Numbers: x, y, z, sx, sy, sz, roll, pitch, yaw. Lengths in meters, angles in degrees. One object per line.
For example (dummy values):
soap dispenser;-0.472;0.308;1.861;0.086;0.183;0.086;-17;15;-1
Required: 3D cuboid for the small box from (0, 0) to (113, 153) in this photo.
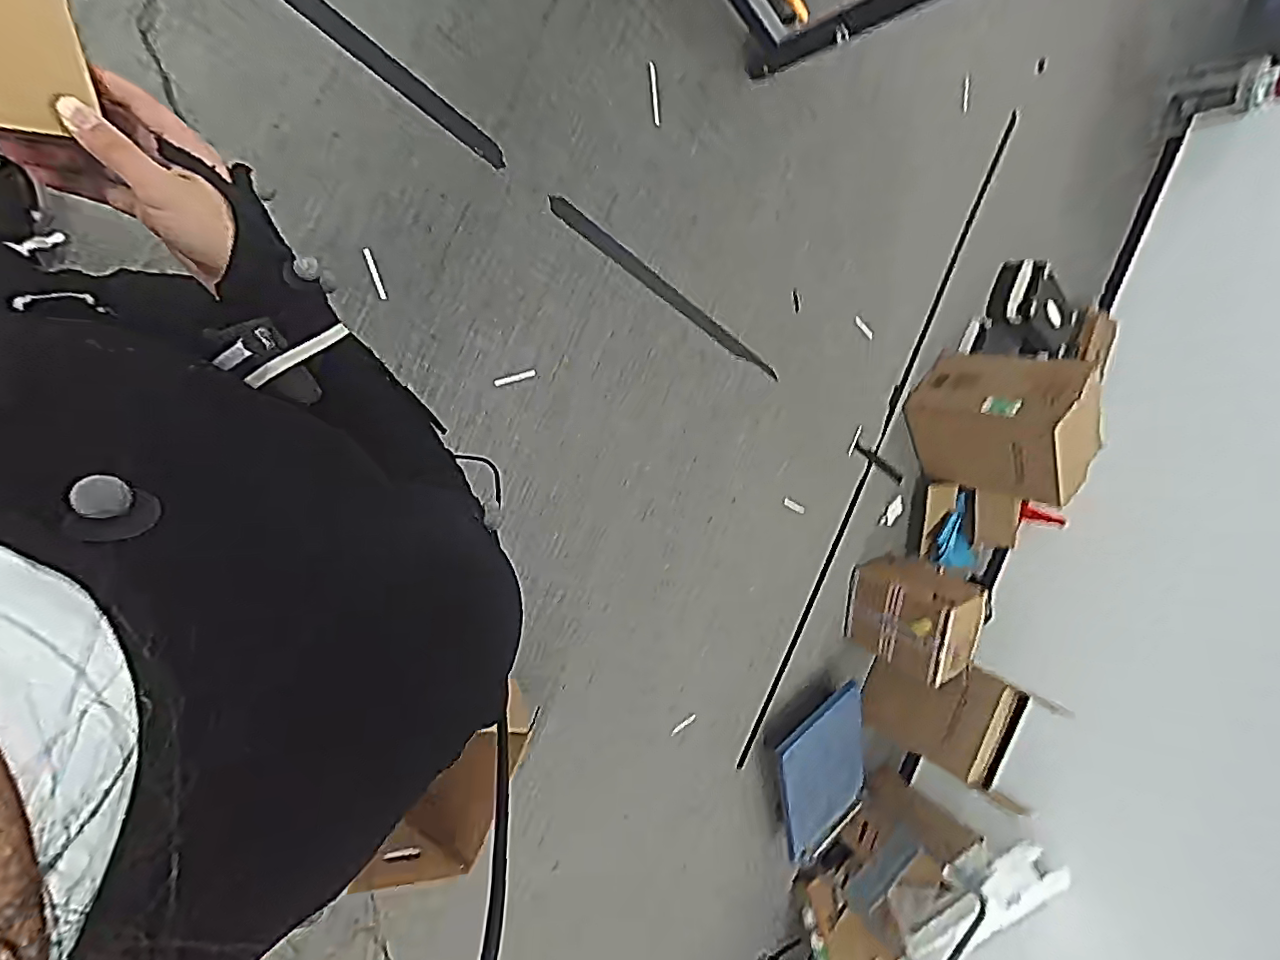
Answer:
small box;-0.404;-0.251;0.234;0.179;0.176;0.168;-38;136;-56
